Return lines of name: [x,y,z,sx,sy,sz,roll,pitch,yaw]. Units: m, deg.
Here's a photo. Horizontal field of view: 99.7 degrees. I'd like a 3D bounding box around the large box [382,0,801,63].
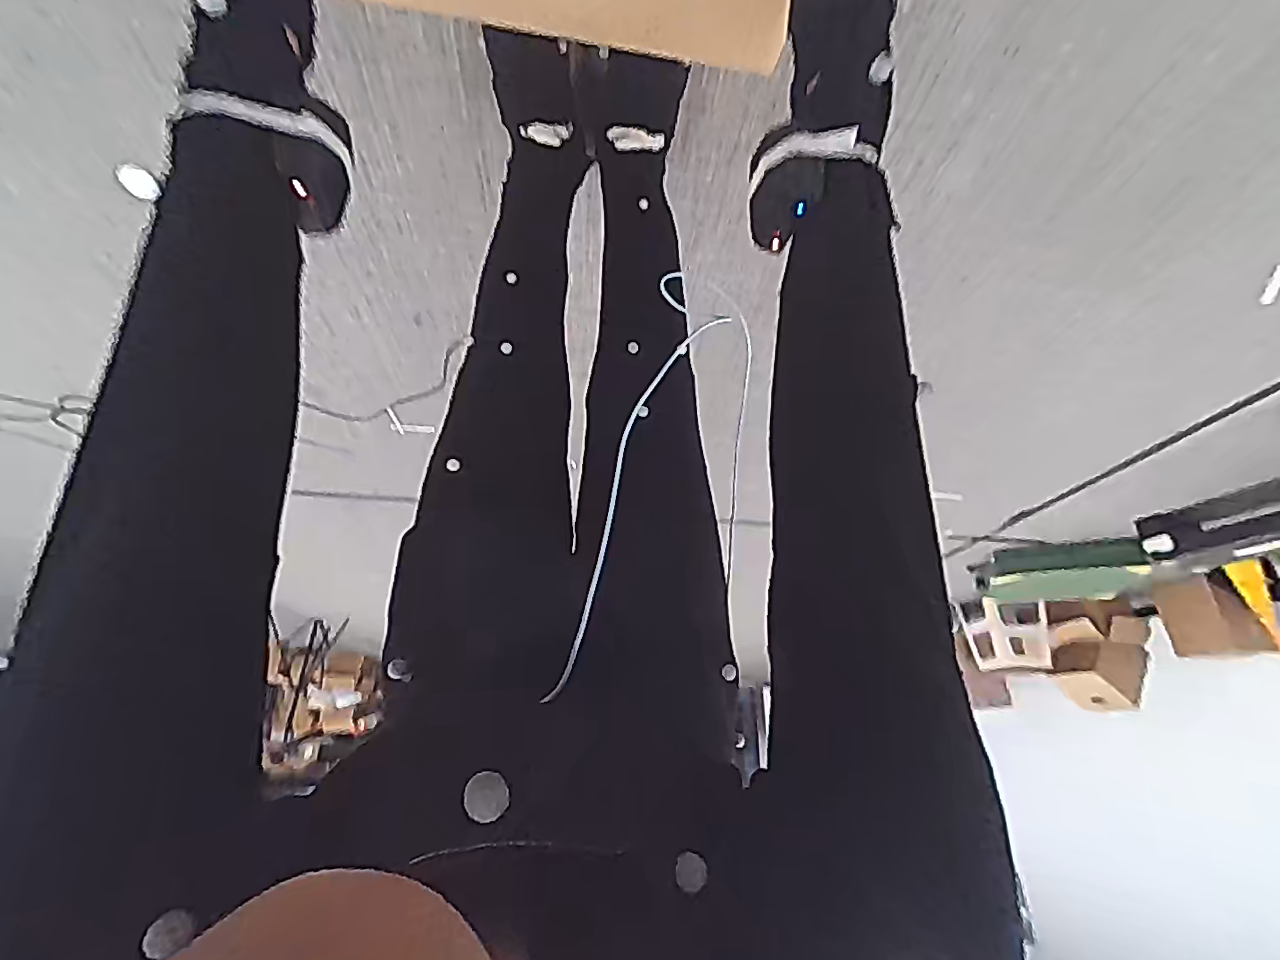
large box: [-0.039,-0.616,0.432,0.408,0.320,0.320,4,155,-8]
